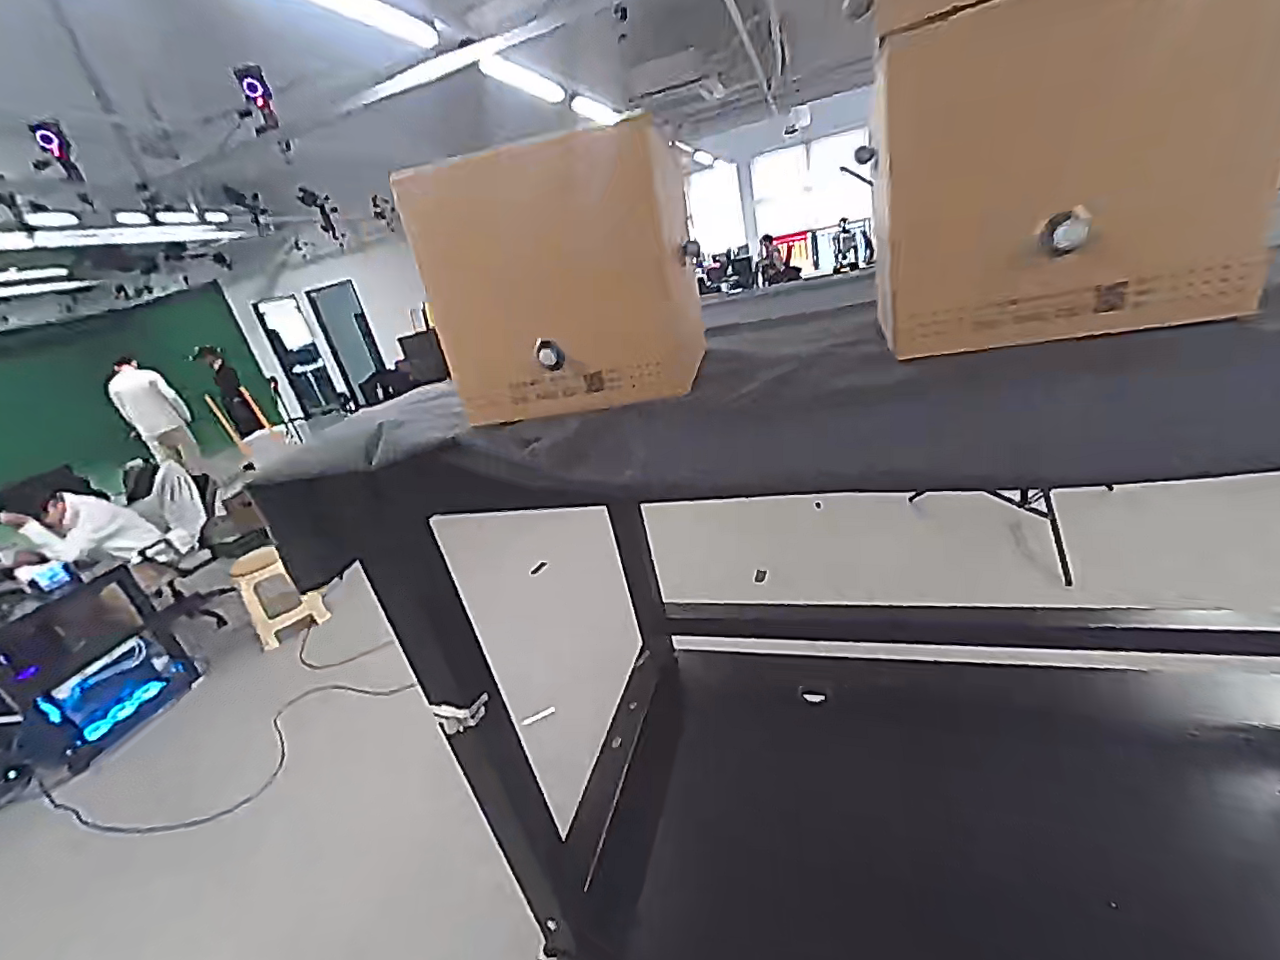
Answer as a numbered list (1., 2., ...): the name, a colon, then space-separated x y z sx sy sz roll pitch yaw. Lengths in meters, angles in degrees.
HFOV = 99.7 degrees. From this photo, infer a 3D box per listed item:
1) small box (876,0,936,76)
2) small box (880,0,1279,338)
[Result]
1. small box: 0.213 -0.343 0.283 0.168 0.176 0.179 -1 24 24
2. small box: 0.244 -0.193 0.341 0.168 0.176 0.179 -4 22 22
